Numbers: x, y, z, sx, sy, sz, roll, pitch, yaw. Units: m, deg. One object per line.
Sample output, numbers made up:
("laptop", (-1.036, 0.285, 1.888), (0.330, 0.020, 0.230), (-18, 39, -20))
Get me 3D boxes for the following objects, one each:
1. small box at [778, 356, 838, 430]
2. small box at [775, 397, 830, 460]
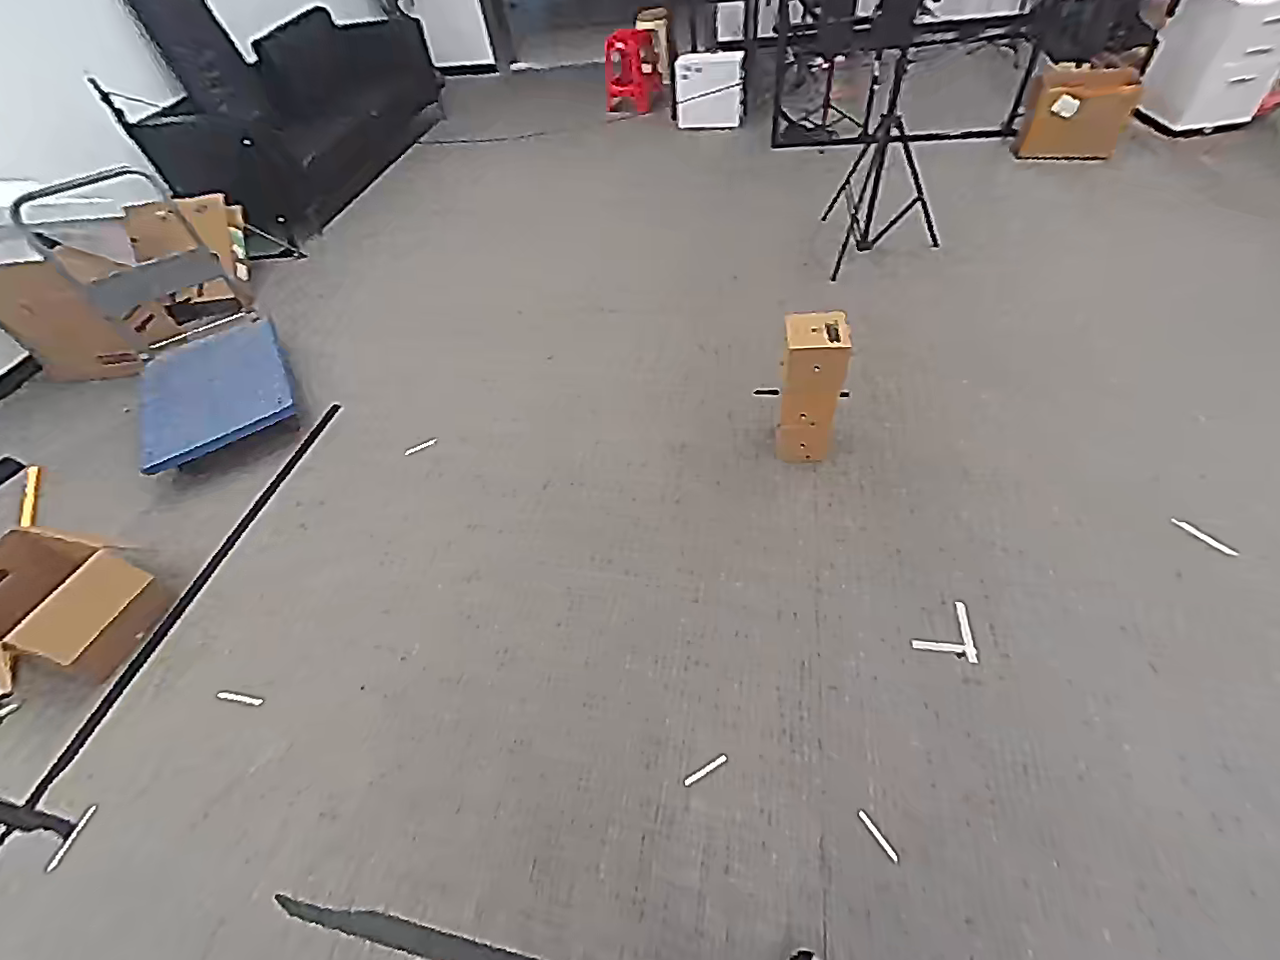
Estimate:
("small box", (0.544, -0.287, 1.770), (0.168, 0.176, 0.179), (2, 52, 10))
("small box", (0.563, -0.183, 1.894), (0.168, 0.176, 0.179), (1, 50, 9))
